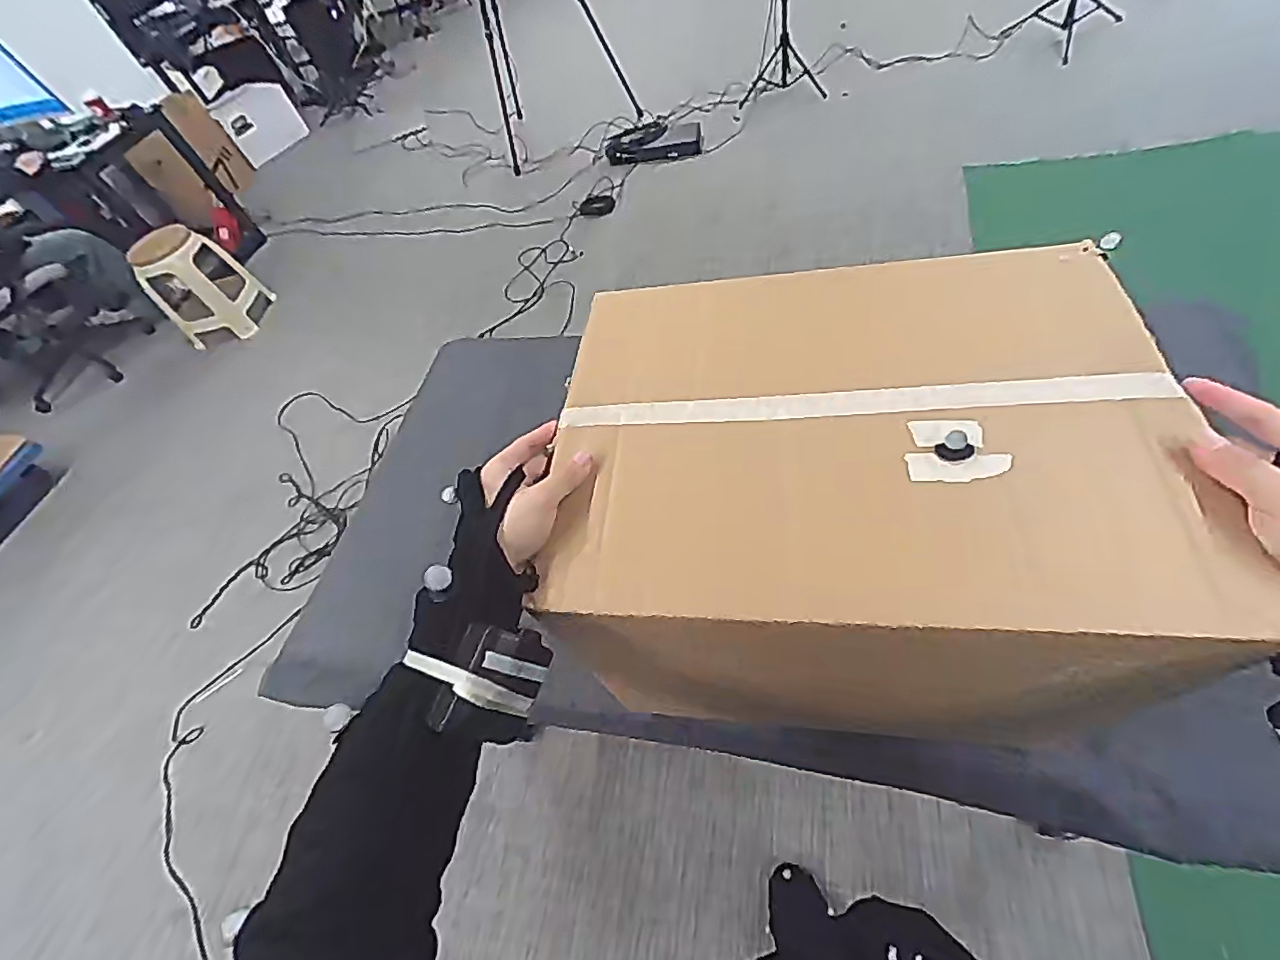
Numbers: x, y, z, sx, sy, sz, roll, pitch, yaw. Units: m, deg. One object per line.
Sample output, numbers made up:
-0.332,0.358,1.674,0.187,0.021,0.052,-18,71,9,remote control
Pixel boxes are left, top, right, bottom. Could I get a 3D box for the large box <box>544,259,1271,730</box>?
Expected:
0.168,0.033,0.515,0.408,0.320,0.320,0,57,12,large box
